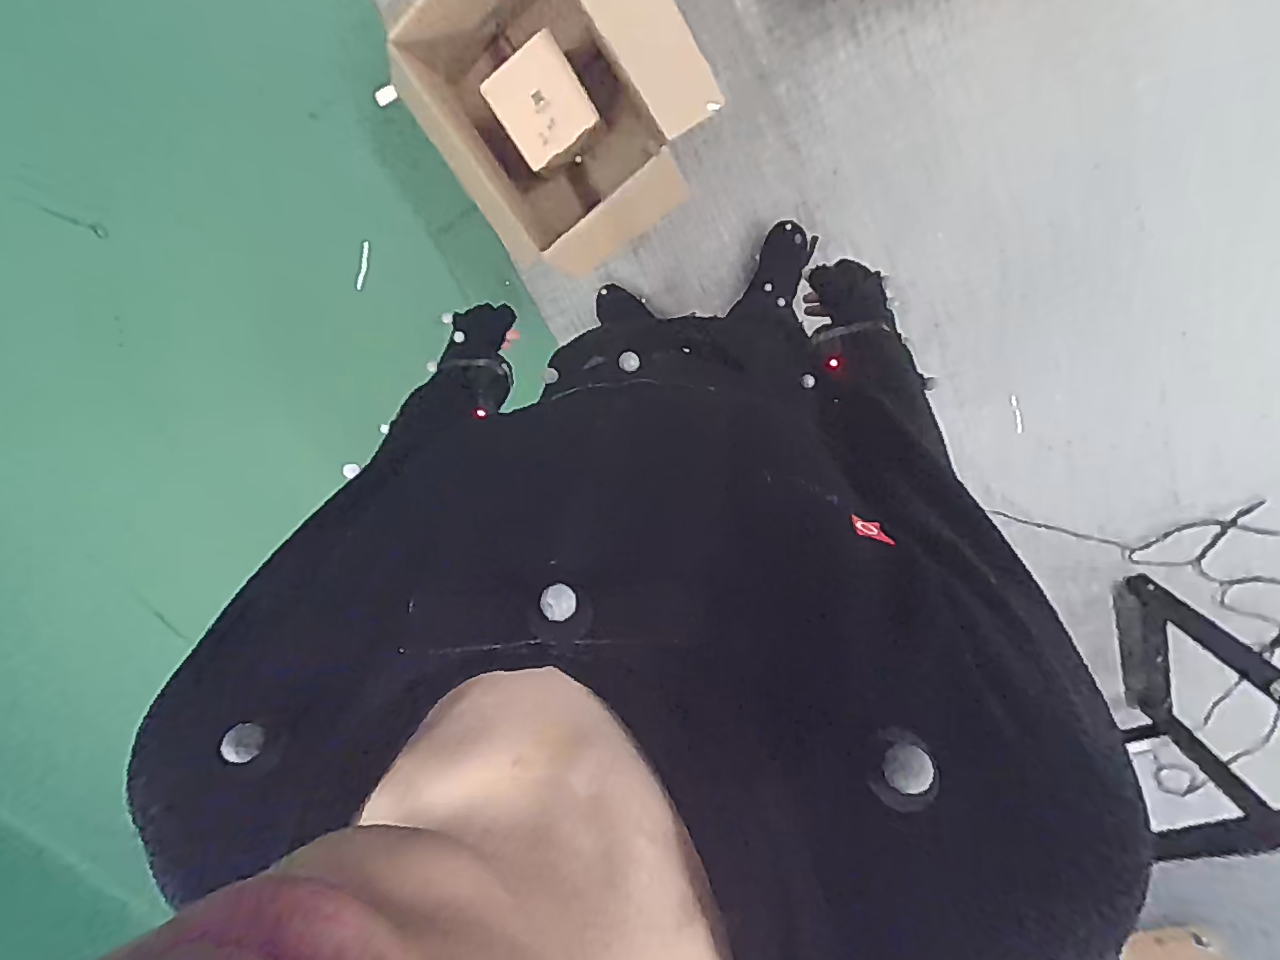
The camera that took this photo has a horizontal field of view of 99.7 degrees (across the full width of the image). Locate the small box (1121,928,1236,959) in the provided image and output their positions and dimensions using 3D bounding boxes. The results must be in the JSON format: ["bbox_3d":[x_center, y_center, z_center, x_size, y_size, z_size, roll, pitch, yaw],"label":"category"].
[{"bbox_3d":[1.092,1.017,1.060,0.168,0.176,0.179,-17,113,11],"label":"small box"}]
